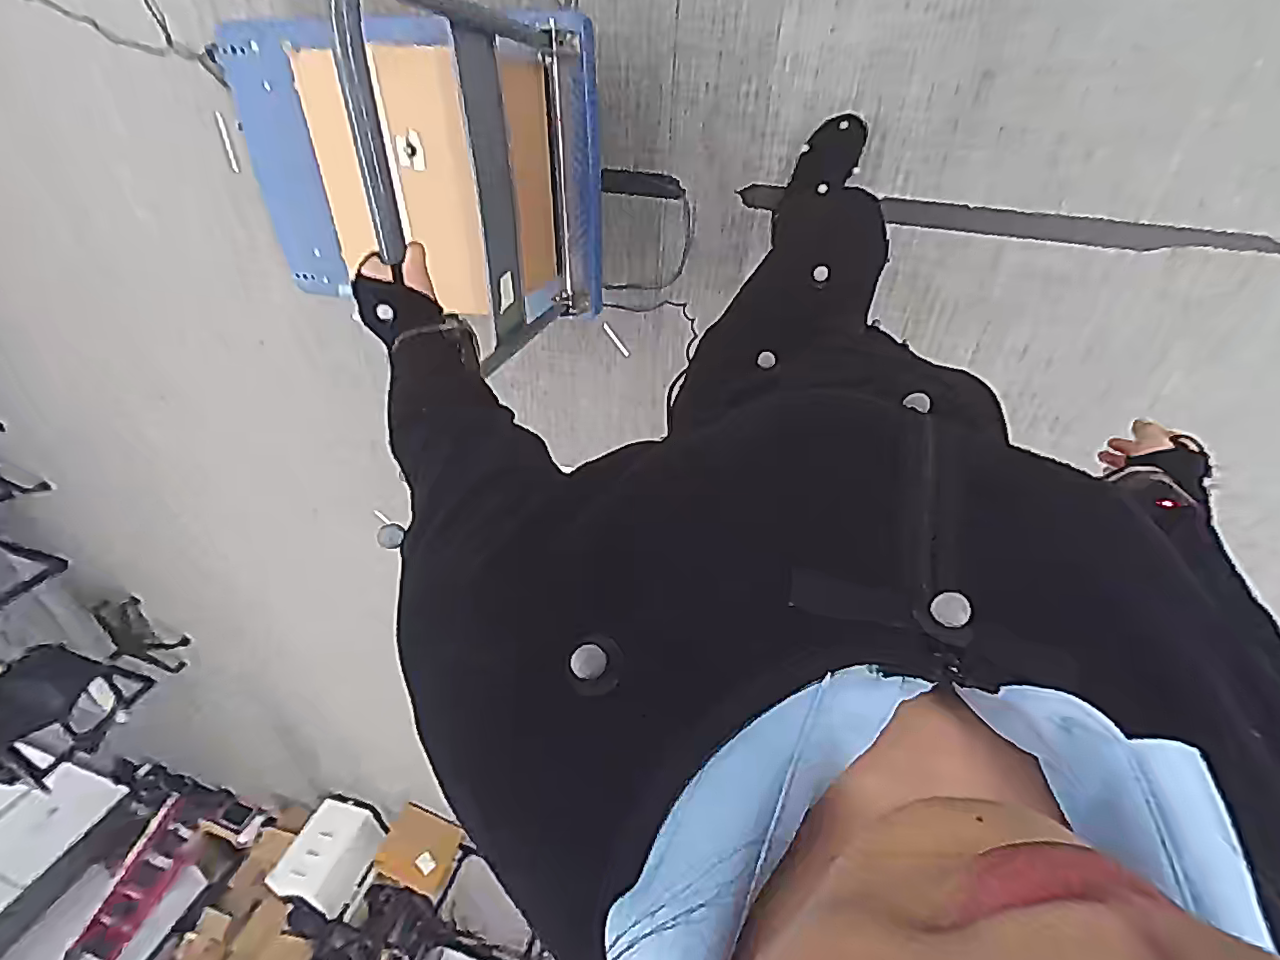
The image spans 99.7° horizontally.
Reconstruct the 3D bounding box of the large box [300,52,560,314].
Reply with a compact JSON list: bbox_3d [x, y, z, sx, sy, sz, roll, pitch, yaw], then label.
[{"bbox_3d":[-0.372,-0.579,1.081,0.320,0.320,0.408,8,124,13],"label":"large box"}]
